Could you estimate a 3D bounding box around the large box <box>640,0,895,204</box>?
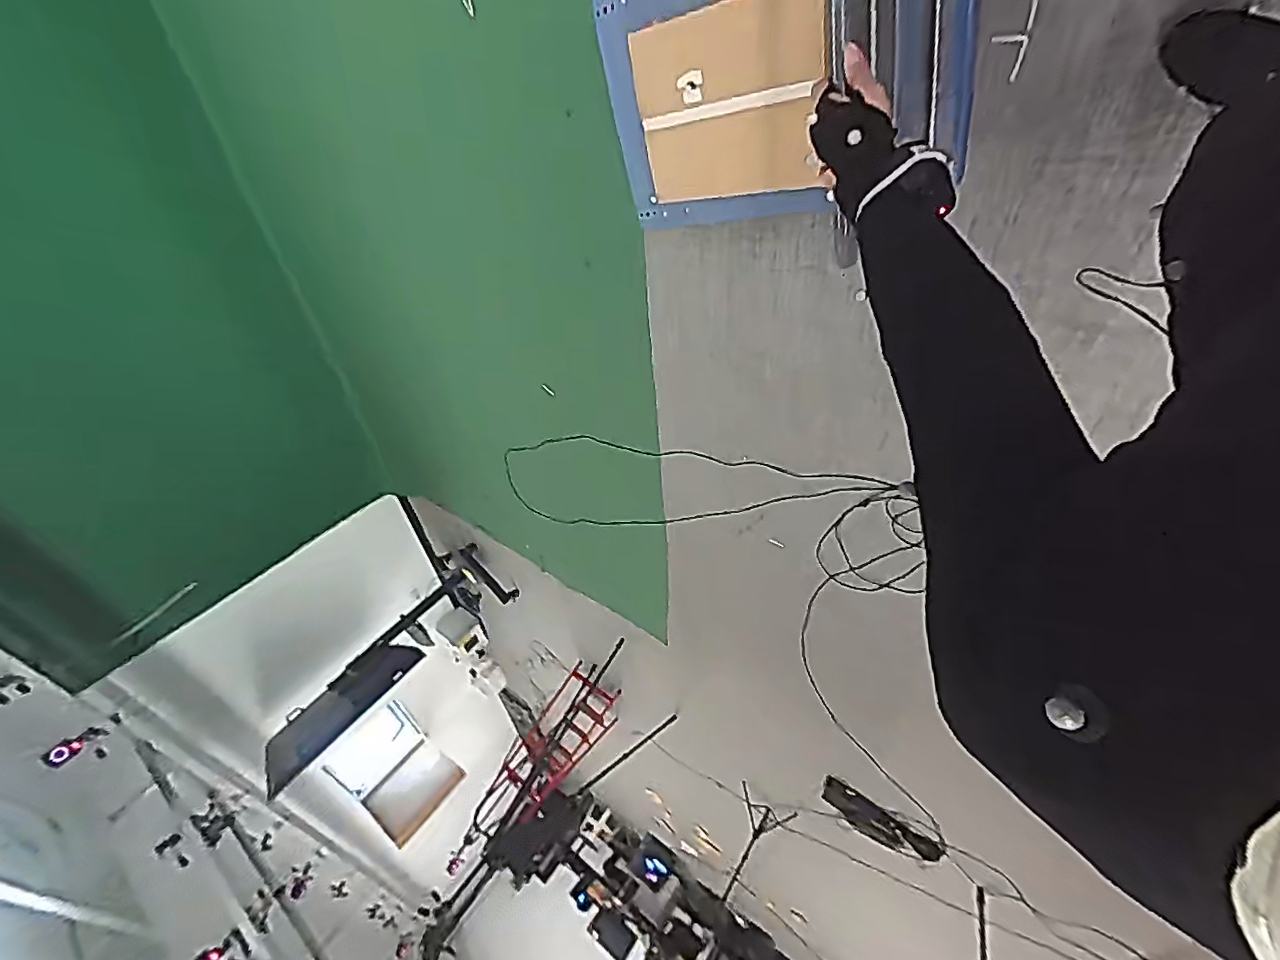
[{"bbox_3d":[0.274,-0.803,1.128,0.408,0.320,0.320,16,134,37],"label":"large box"}]
